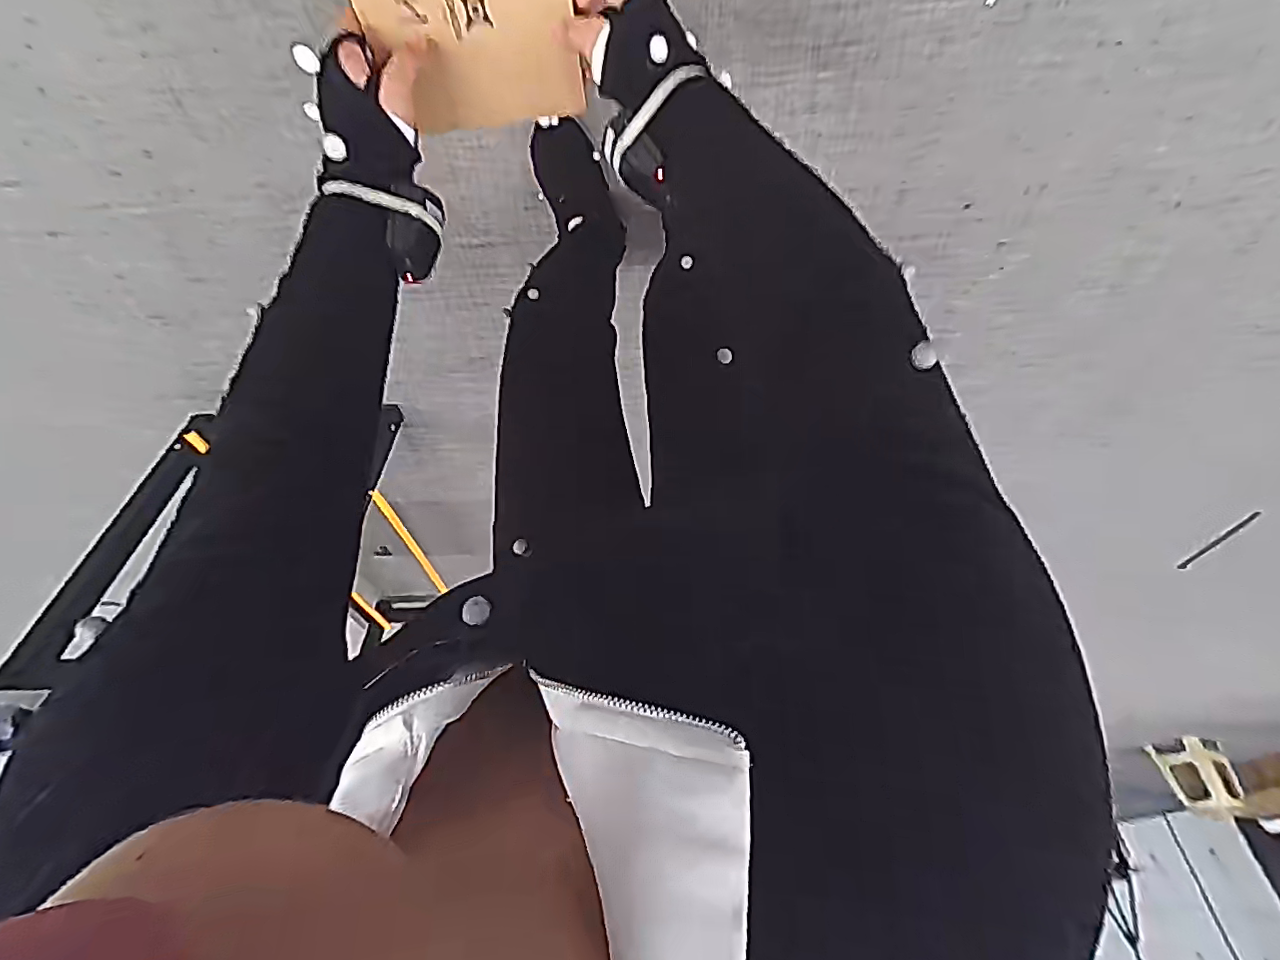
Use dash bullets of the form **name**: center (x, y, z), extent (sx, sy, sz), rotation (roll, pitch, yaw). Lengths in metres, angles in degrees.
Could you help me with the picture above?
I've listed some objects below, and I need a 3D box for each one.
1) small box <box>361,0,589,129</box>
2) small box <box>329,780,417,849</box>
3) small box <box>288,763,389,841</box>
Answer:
- **small box**: center (-0.146, -0.452, 0.496), extent (0.179, 0.176, 0.168), rotation (-6, 141, 0)
- **small box**: center (-0.819, 1.038, 1.682), extent (0.168, 0.176, 0.179), rotation (-1, 141, 2)
- **small box**: center (-0.821, 0.893, 1.500), extent (0.179, 0.176, 0.168), rotation (-1, 141, 3)
